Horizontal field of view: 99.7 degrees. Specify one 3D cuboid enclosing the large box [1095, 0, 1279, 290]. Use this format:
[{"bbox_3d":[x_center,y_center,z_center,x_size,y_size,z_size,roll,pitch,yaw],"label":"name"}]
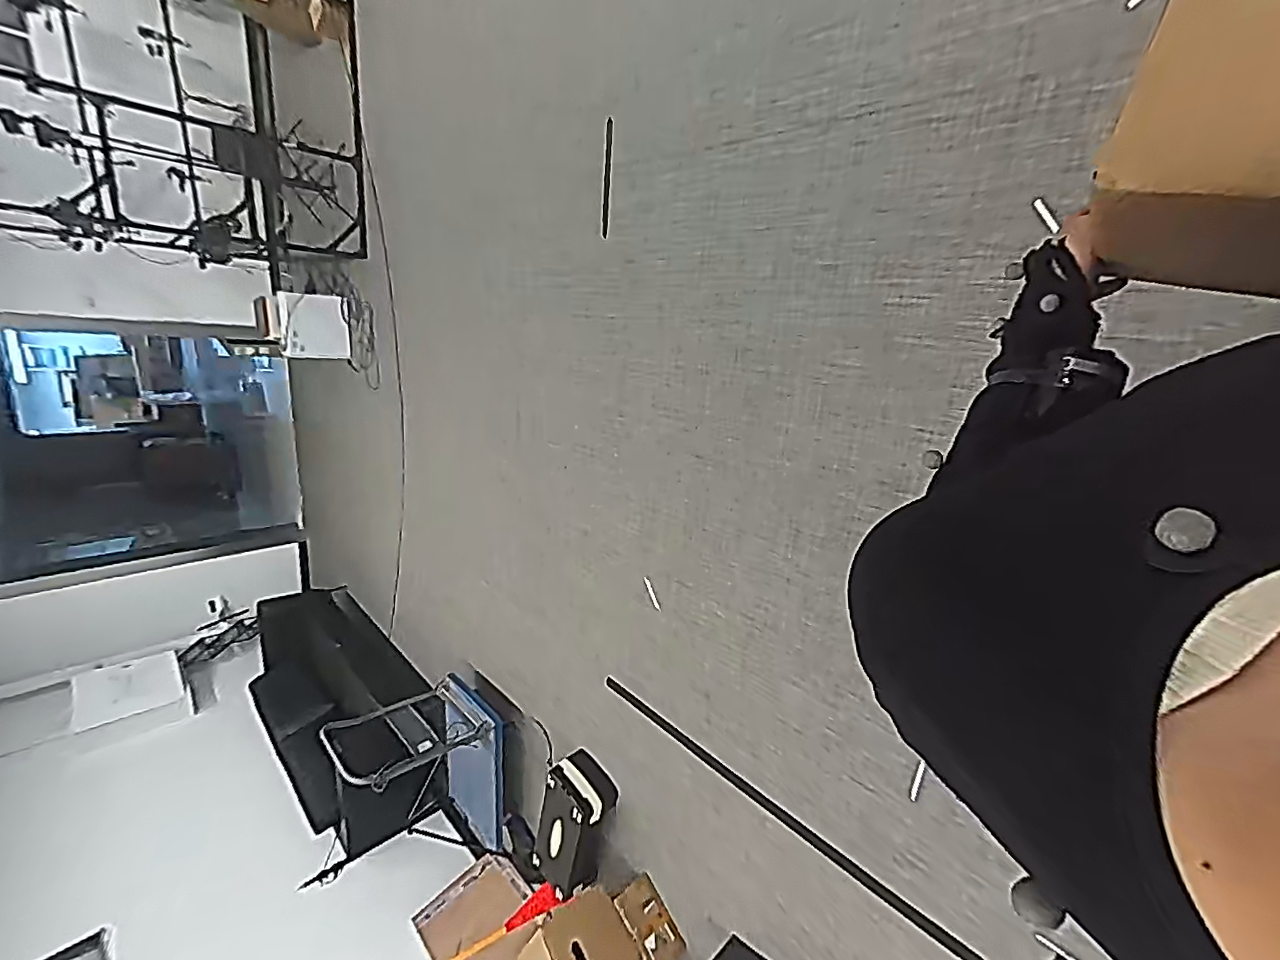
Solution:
[{"bbox_3d":[0.498,-0.245,0.224,0.408,0.320,0.320,25,114,33],"label":"large box"}]
